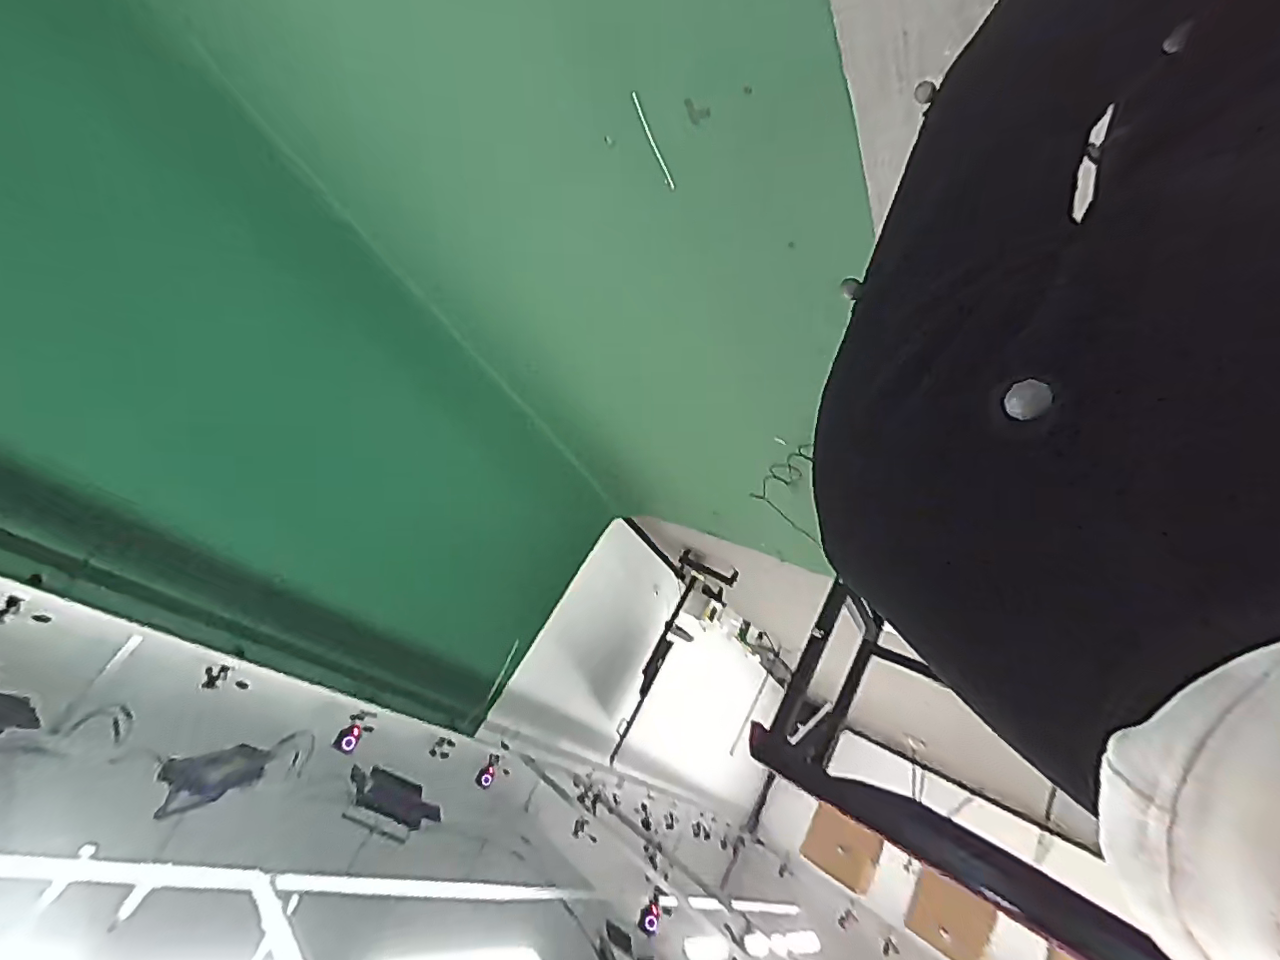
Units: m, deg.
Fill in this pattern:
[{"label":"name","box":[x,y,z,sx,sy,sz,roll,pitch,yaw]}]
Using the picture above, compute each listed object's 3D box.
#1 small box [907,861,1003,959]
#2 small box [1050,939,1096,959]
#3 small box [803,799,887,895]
[{"label":"small box","box":[0.824,1.132,1.404,0.179,0.176,0.168,13,155,43]},{"label":"small box","box":[1.029,1.188,1.223,0.168,0.176,0.179,16,157,39]},{"label":"small box","box":[0.609,1.073,1.587,0.179,0.176,0.168,12,152,41]}]
